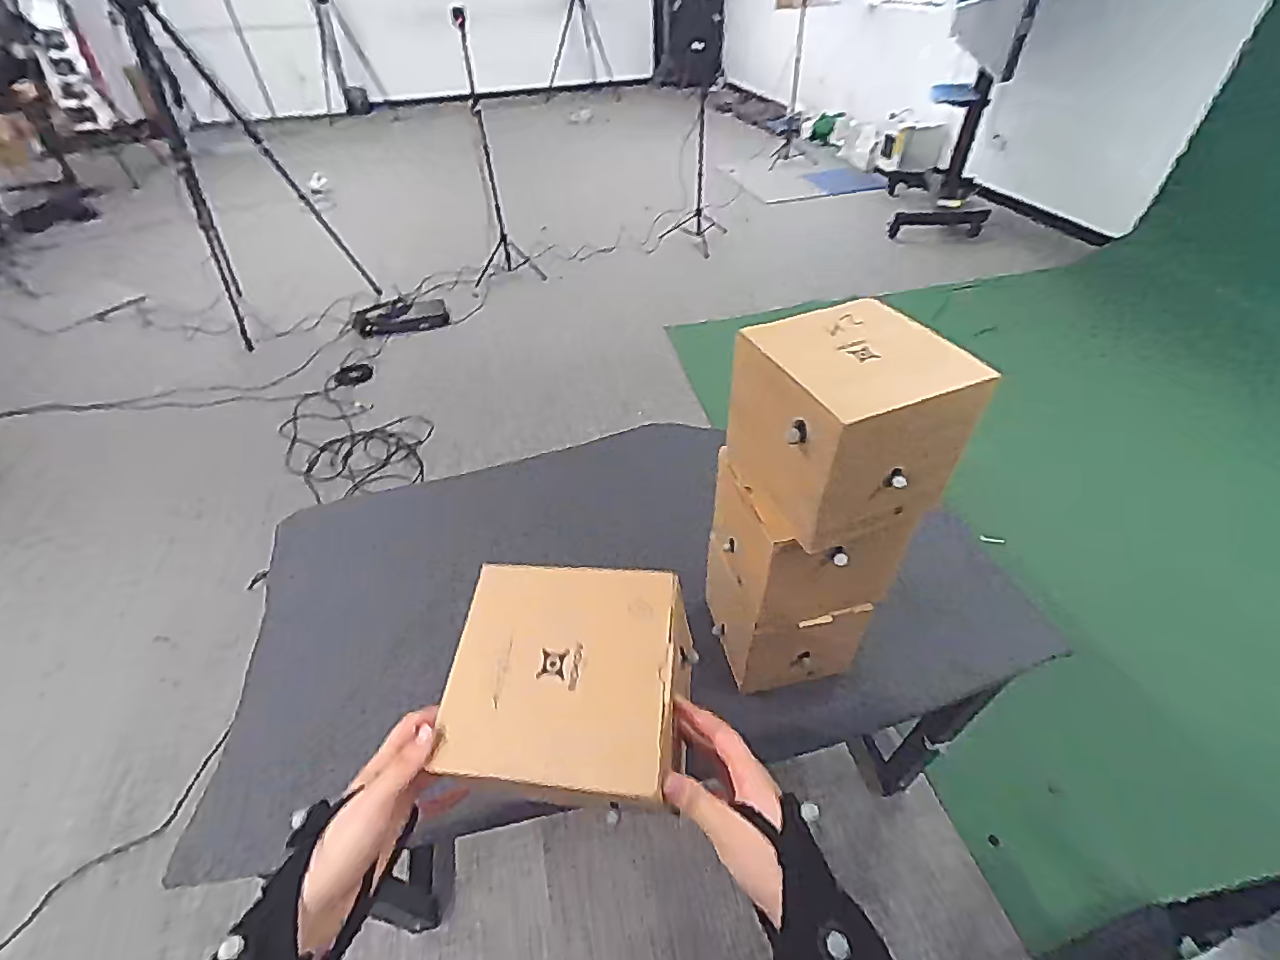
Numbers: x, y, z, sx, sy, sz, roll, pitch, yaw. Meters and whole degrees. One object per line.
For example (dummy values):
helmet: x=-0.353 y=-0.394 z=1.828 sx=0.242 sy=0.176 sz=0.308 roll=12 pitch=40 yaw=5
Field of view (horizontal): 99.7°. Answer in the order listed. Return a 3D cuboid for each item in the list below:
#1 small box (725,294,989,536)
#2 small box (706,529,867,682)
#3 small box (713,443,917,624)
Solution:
small box: x=0.200 y=-0.063 z=0.558 sx=0.168 sy=0.176 sz=0.179 roll=-18 pitch=45 yaw=-14
small box: x=0.198 y=0.174 z=0.786 sx=0.168 sy=0.176 sz=0.179 roll=-11 pitch=44 yaw=-7
small box: x=0.199 y=0.053 z=0.676 sx=0.179 sy=0.176 sz=0.168 roll=-12 pitch=44 yaw=-8
